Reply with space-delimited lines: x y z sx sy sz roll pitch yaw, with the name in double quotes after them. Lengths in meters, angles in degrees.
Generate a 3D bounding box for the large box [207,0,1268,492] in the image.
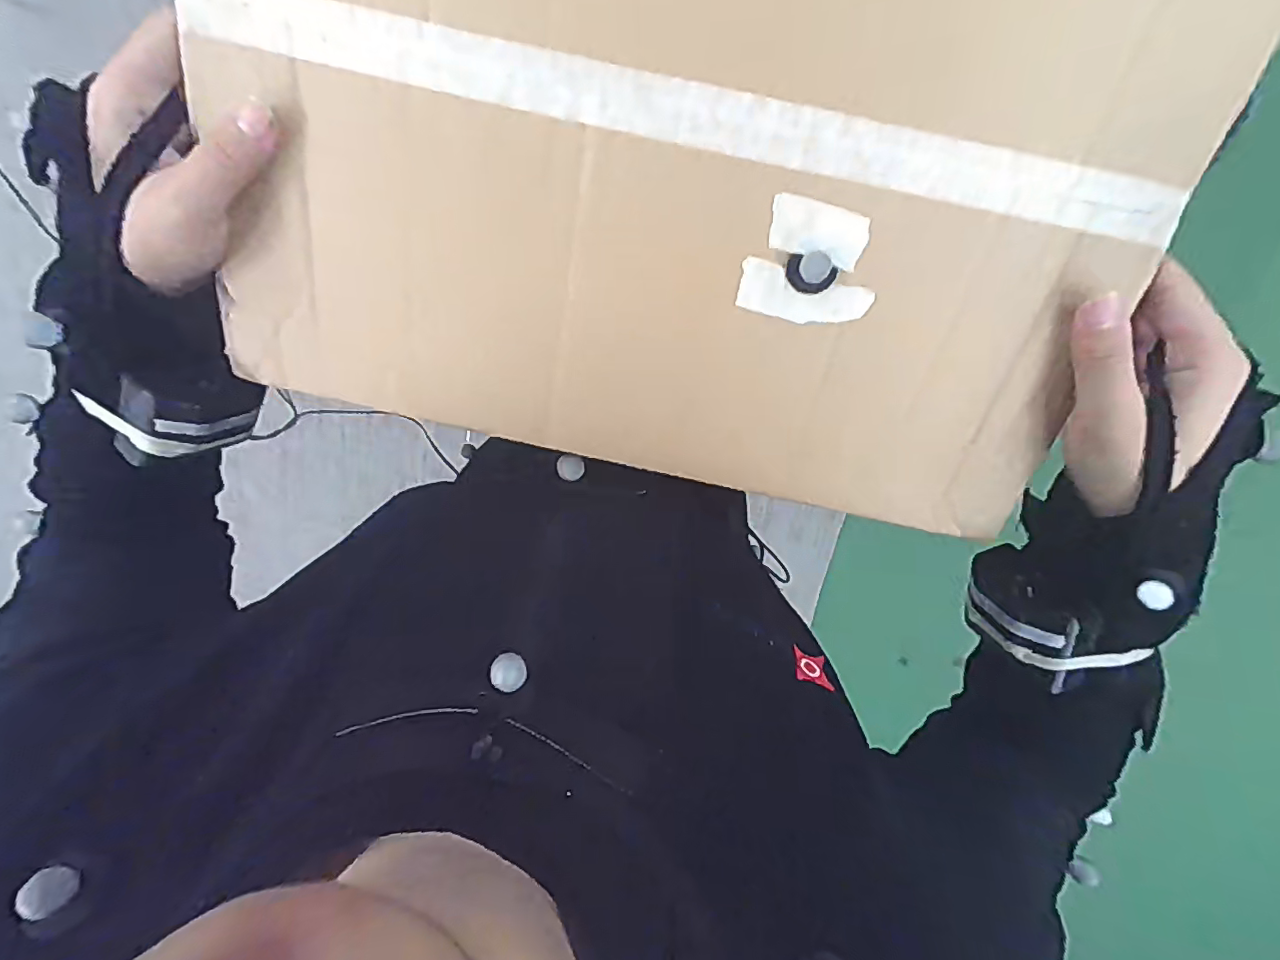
0.030 -0.223 0.354 0.408 0.320 0.320 11 115 -1 "large box"
